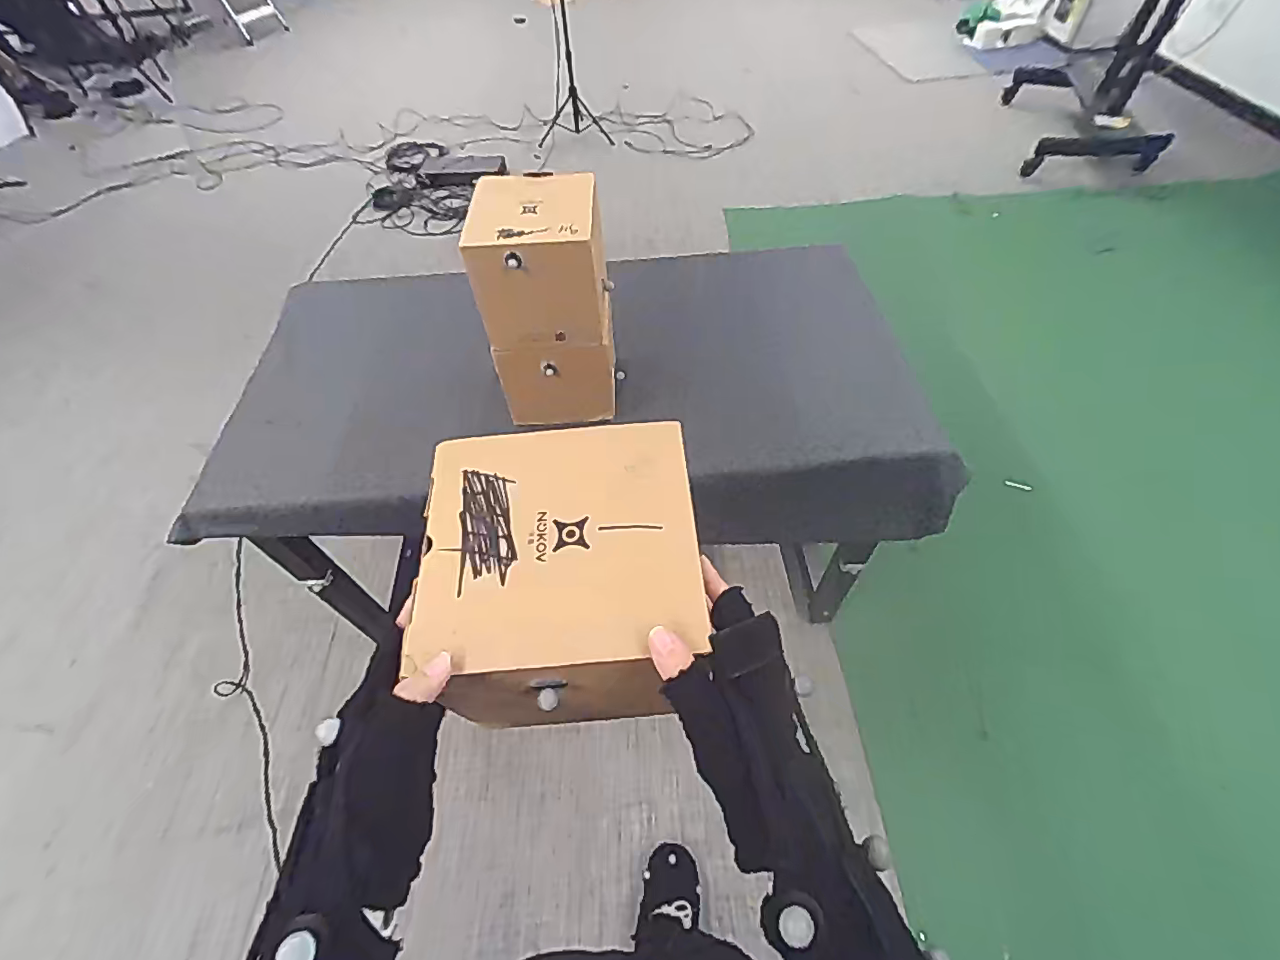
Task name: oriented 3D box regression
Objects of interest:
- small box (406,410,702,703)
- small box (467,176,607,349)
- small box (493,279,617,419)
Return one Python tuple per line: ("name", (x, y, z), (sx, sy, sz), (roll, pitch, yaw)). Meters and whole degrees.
("small box", (-0.050, 0.067, 0.419), (0.179, 0.176, 0.168), (-5, 57, 0))
("small box", (-0.137, -0.313, 0.785), (0.168, 0.176, 0.179), (-4, 55, -1))
("small box", (-0.133, -0.216, 0.914), (0.179, 0.176, 0.168), (-3, 54, 0))
